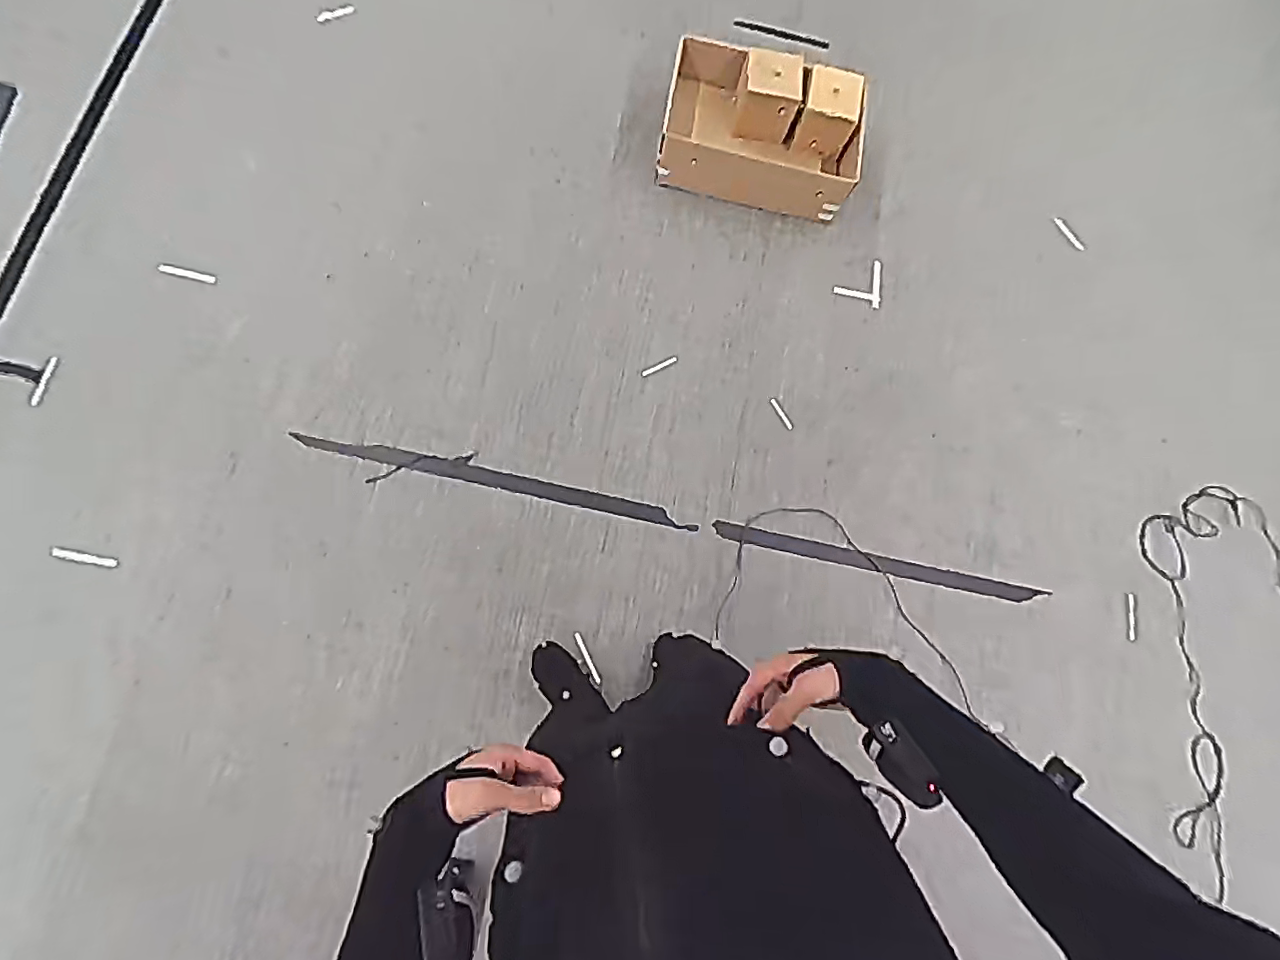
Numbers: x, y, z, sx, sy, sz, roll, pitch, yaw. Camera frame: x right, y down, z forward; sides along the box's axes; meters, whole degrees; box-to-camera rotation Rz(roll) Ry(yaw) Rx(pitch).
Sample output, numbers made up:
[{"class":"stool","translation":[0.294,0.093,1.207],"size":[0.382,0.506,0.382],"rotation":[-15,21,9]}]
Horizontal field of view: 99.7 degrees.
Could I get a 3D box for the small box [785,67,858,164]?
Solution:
[{"class":"small box","translation":[0.582,-1.173,1.747],"size":[0.168,0.176,0.179],"rotation":[11,79,-4]}]
